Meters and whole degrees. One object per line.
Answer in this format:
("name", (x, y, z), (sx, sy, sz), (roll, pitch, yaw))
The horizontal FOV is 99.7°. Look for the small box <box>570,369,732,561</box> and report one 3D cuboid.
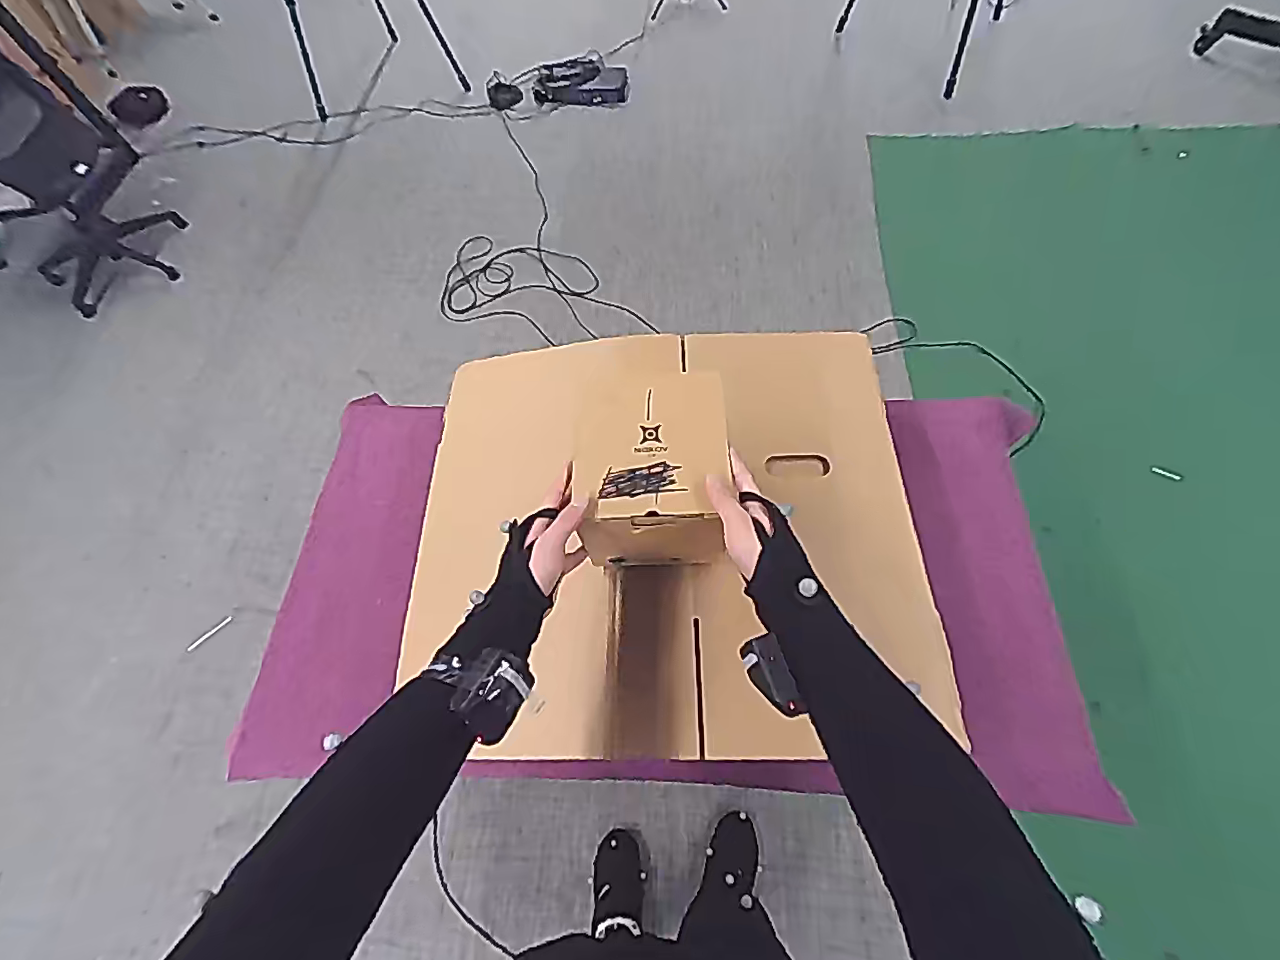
("small box", (0.016, -0.007, 0.639), (0.168, 0.176, 0.179), (-2, 64, 3))
